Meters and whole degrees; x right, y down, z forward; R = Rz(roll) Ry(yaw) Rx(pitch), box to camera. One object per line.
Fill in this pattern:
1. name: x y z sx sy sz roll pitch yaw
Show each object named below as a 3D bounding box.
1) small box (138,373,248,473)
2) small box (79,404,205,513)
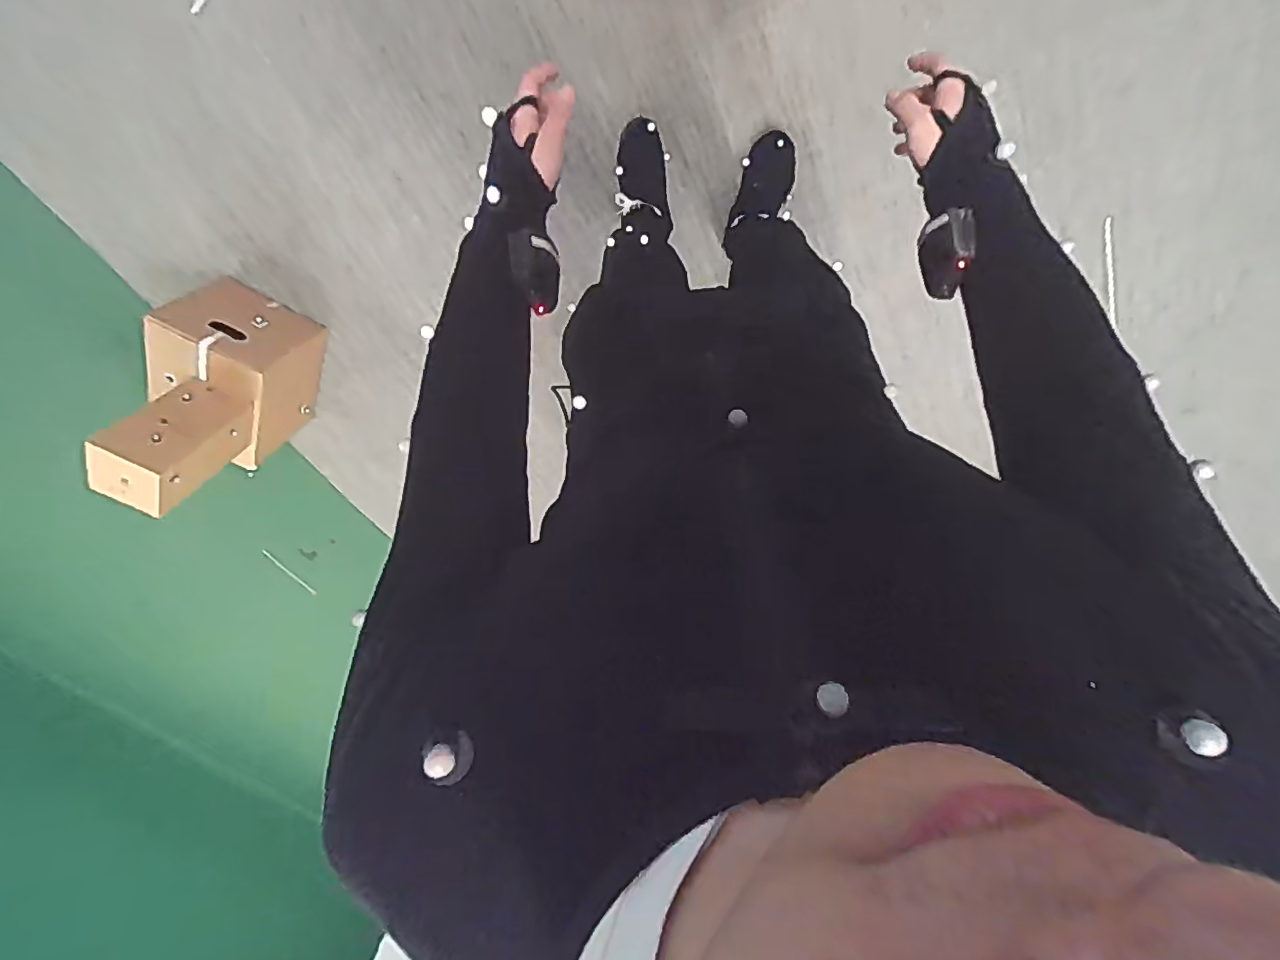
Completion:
1. small box: -1.210 -0.160 1.473 0.168 0.176 0.179 28 128 -13
2. small box: -1.230 -0.057 1.346 0.168 0.176 0.179 30 127 -14
